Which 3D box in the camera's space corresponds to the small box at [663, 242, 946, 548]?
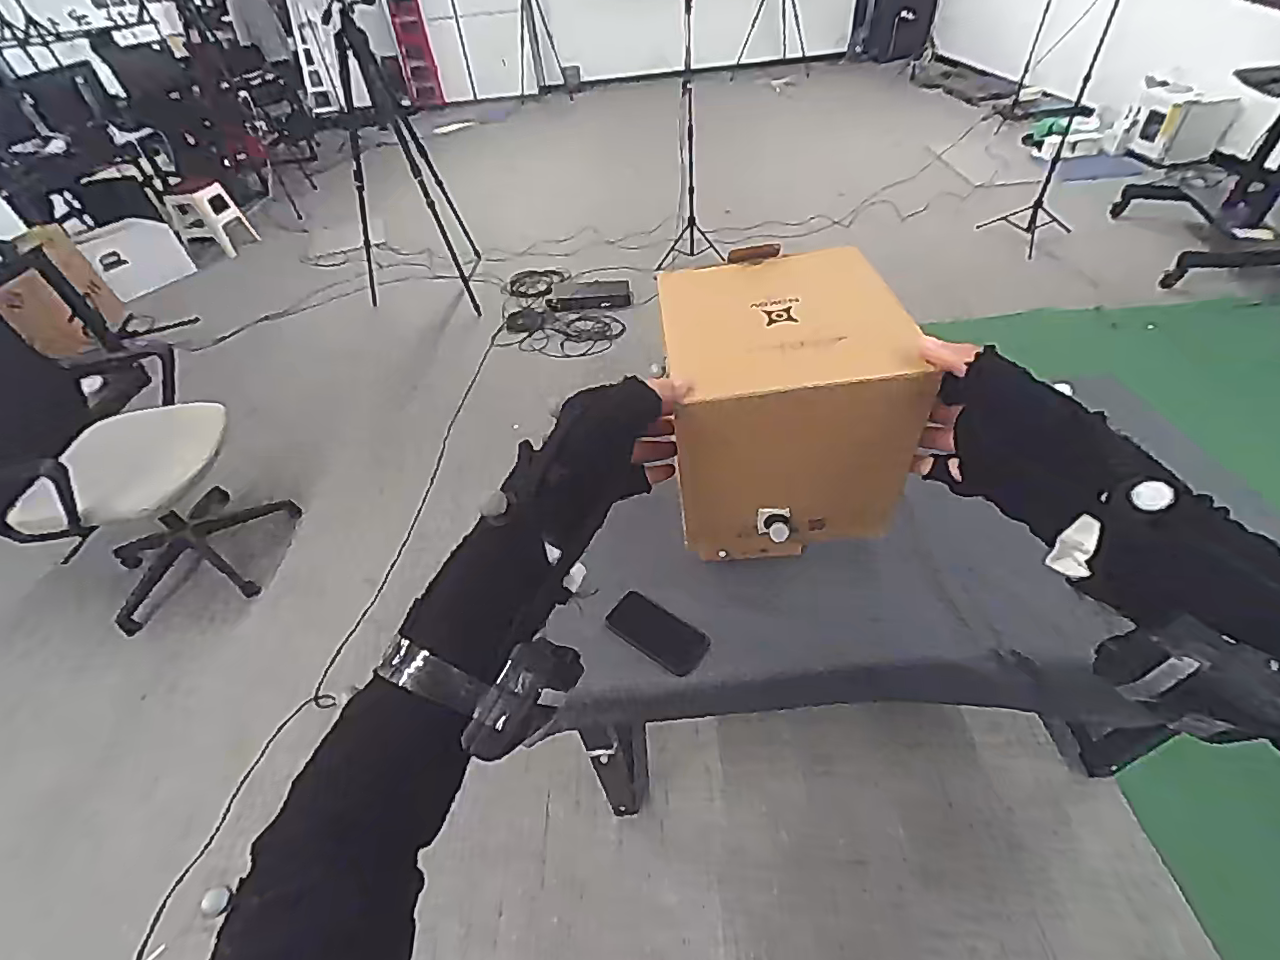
[{"bbox_3d":[0.110,-0.067,0.443,0.168,0.176,0.179,-7,48,4],"label":"small box"}]
